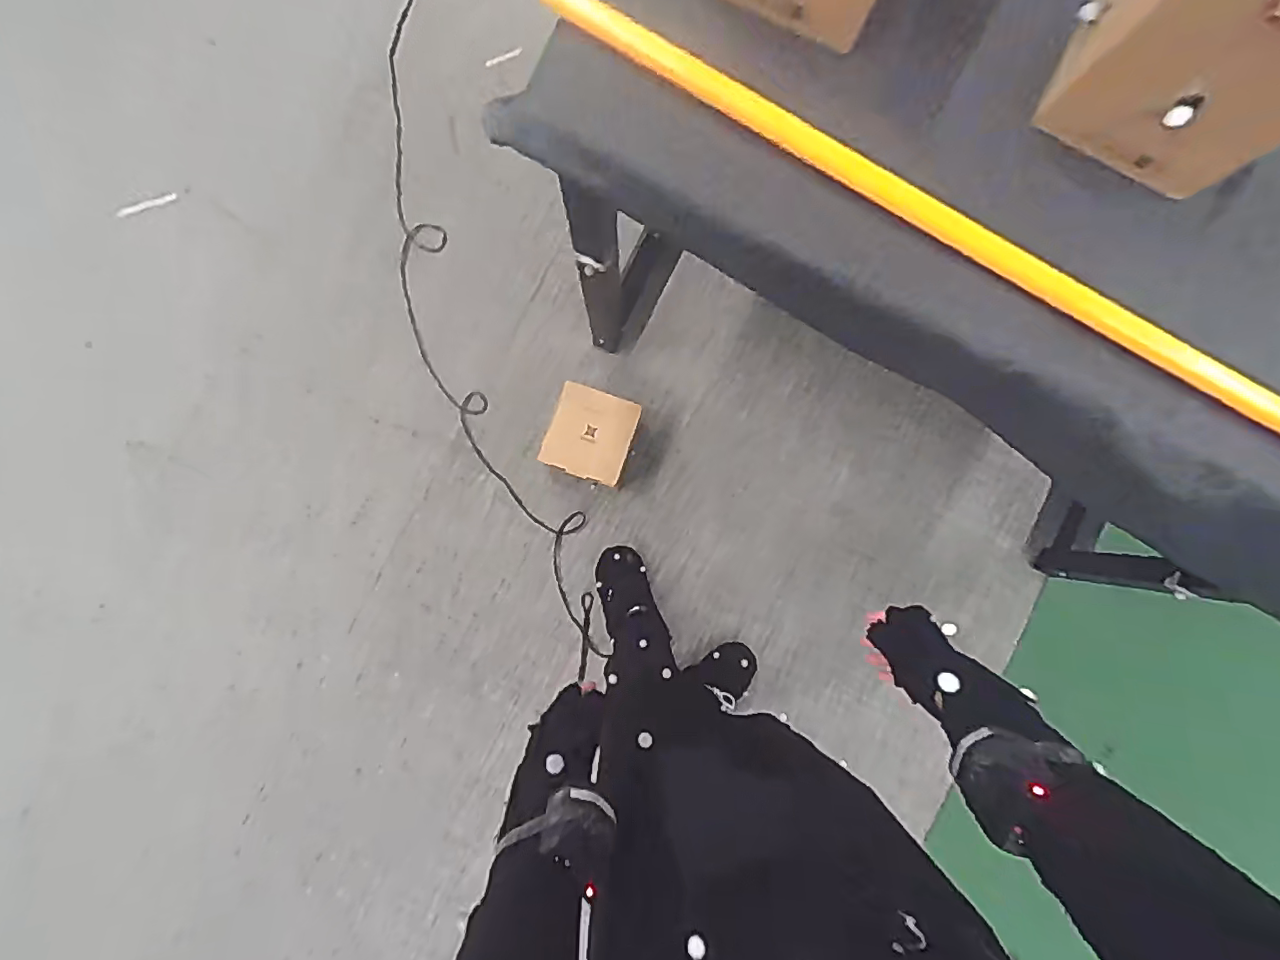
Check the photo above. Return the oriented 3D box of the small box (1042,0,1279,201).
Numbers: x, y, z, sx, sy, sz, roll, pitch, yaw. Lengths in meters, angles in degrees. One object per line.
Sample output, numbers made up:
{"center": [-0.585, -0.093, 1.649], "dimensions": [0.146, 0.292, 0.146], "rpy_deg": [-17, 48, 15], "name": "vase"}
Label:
{"center": [0.493, -0.380, 0.457], "dimensions": [0.168, 0.176, 0.179], "rpy_deg": [25, 85, 2], "name": "small box"}
